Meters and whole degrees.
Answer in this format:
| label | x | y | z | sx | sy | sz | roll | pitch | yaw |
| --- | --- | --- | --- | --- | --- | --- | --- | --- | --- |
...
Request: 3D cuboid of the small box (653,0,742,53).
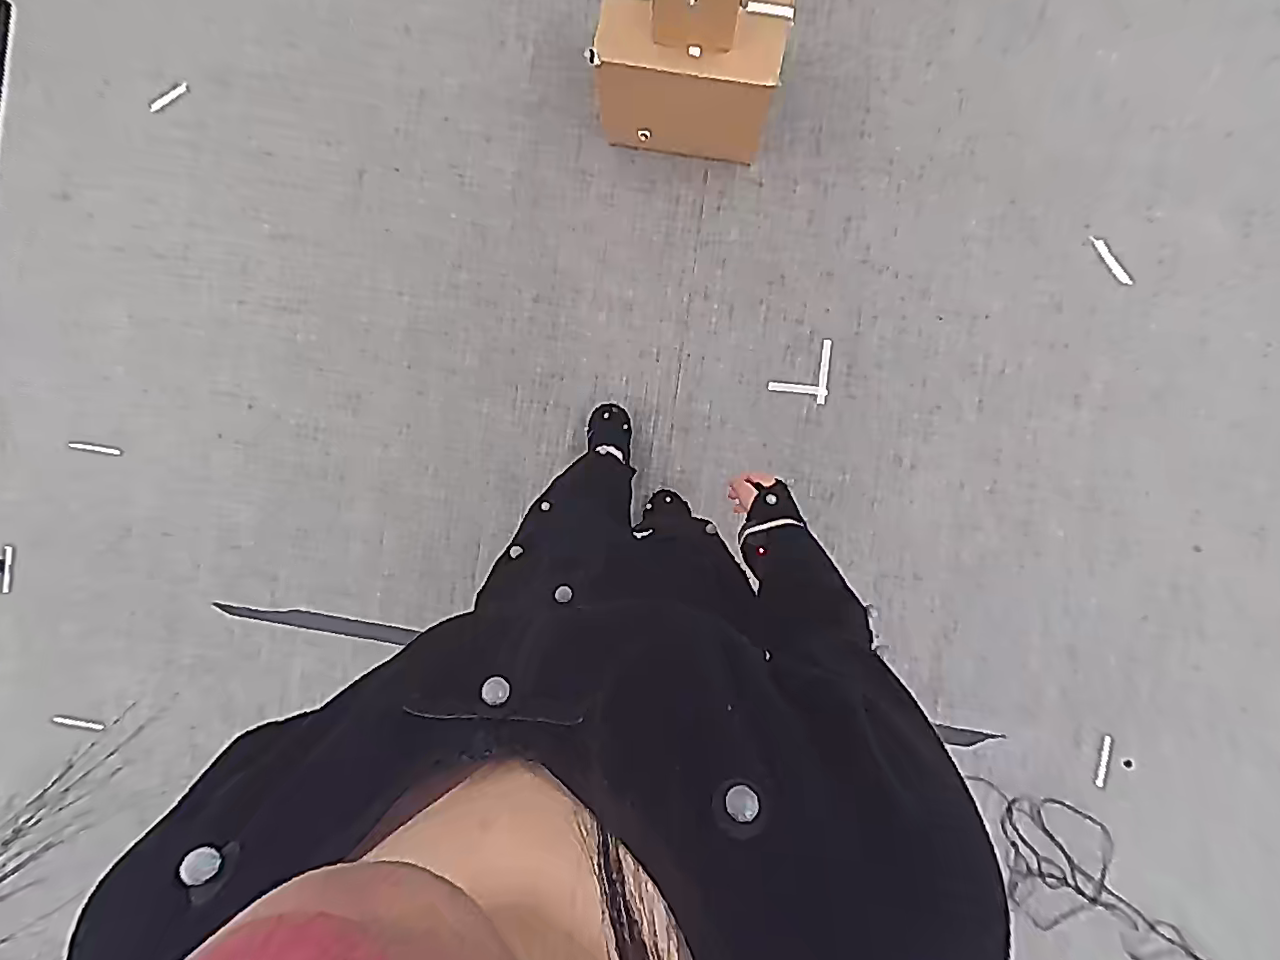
| label | x | y | z | sx | sy | sz | roll | pitch | yaw |
| --- | --- | --- | --- | --- | --- | --- | --- | --- | --- |
| small box | 0.120 | -0.994 | 1.072 | 0.179 | 0.176 | 0.168 | 8 | 93 | 1 |
